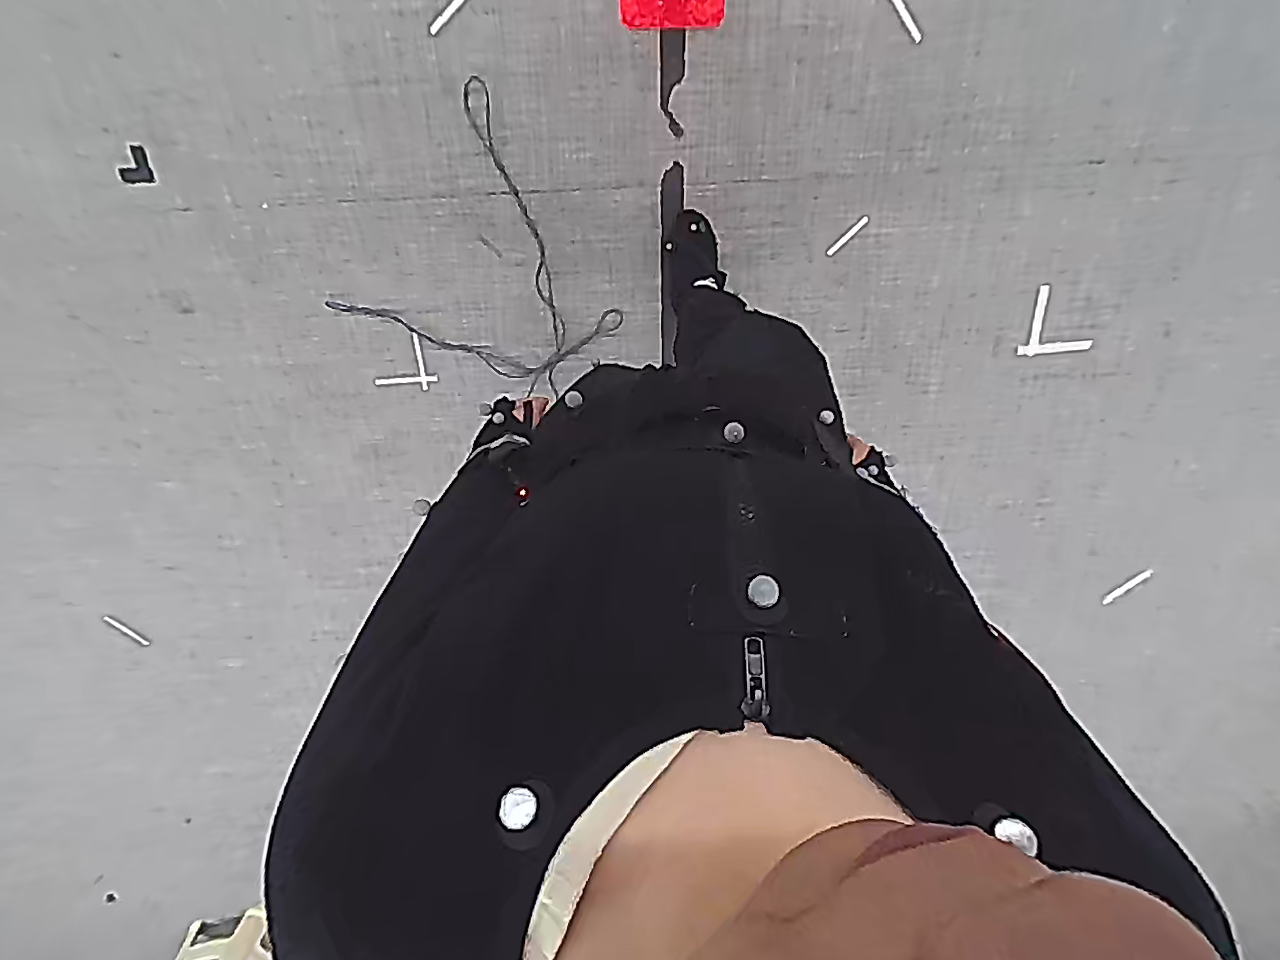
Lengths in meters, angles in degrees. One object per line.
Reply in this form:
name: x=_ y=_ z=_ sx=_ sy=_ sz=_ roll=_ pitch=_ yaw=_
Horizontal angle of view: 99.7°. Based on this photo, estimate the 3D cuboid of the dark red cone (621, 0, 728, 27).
dark red cone: x=0.059 y=-0.881 z=0.826 sx=0.201 sy=0.394 sz=0.202 roll=-2 pitch=113 yaw=1
